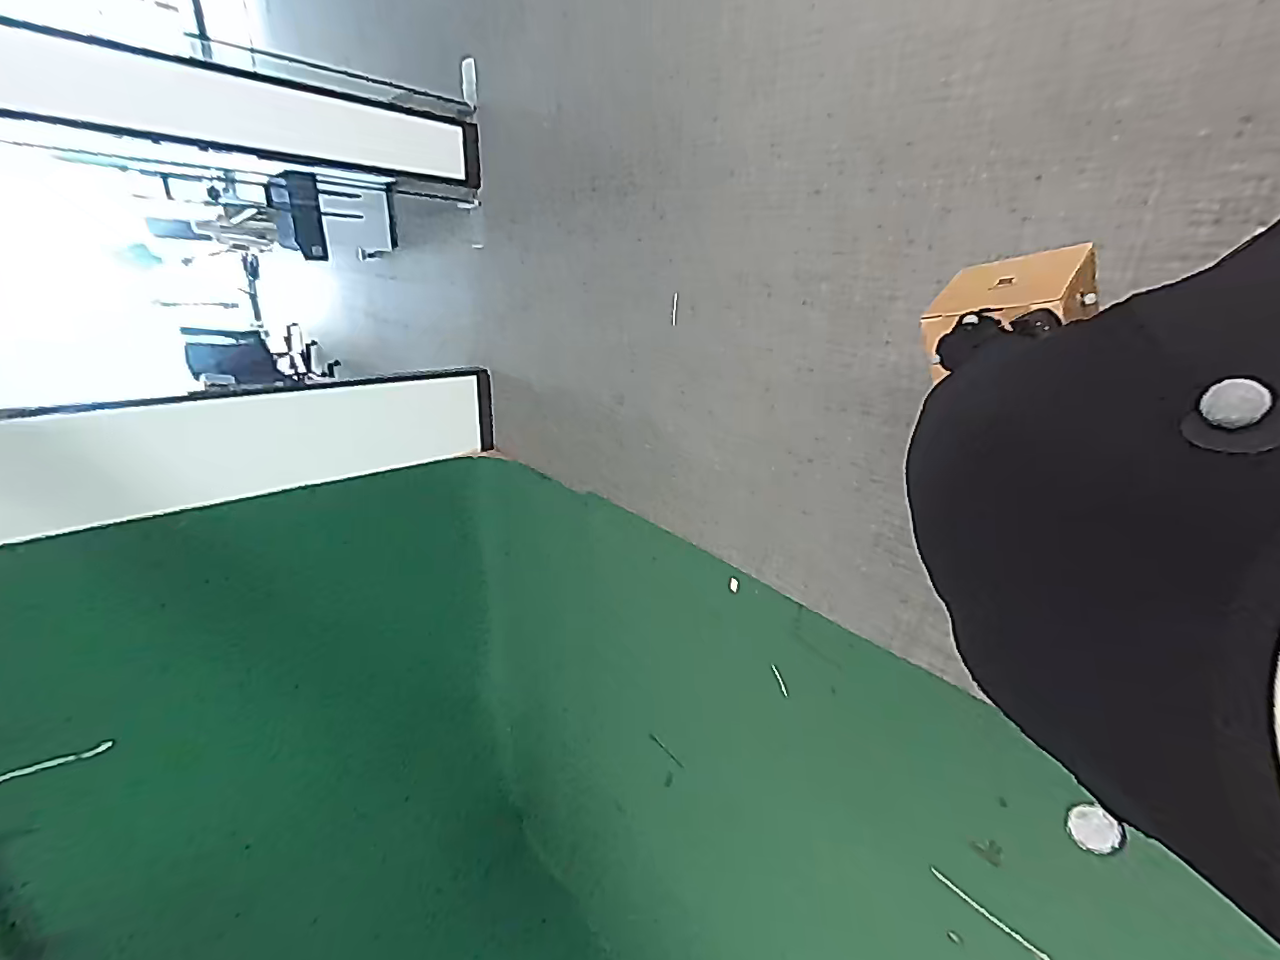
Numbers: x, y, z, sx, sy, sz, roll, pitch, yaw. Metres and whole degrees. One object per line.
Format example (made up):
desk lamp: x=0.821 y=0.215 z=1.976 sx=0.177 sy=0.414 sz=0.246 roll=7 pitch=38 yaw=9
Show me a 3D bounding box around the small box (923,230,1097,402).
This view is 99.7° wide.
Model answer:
small box: x=0.542 y=-0.229 z=0.785 sx=0.168 sy=0.179 sz=0.176 roll=7 pitch=134 yaw=50
